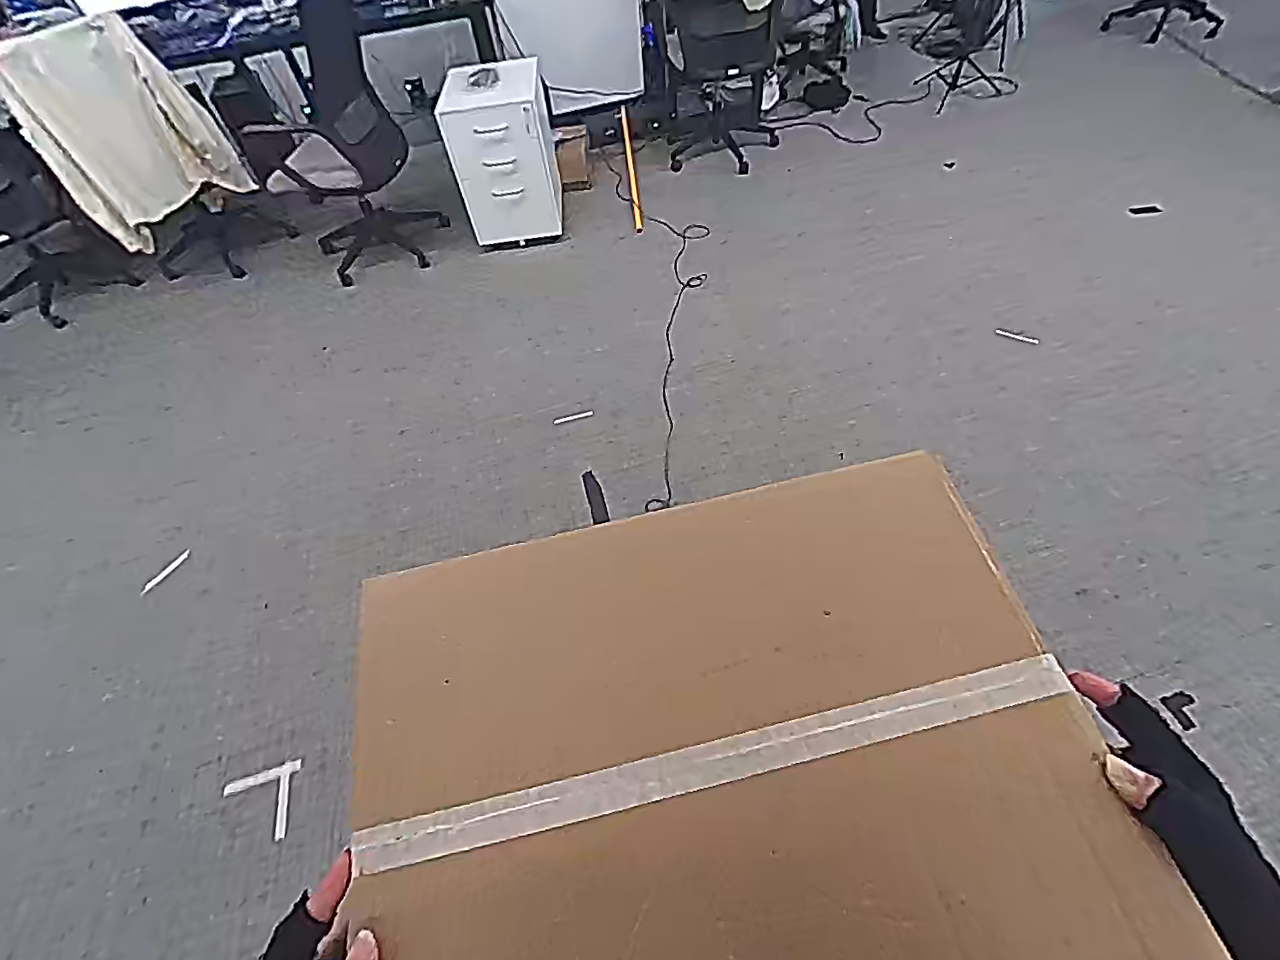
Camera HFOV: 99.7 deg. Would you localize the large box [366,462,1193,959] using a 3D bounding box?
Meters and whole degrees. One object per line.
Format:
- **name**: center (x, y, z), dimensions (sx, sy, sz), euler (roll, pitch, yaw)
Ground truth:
- **large box**: center (0.053, 0.231, 0.443), dimensions (0.408, 0.320, 0.320), euler (-13, 60, -2)
